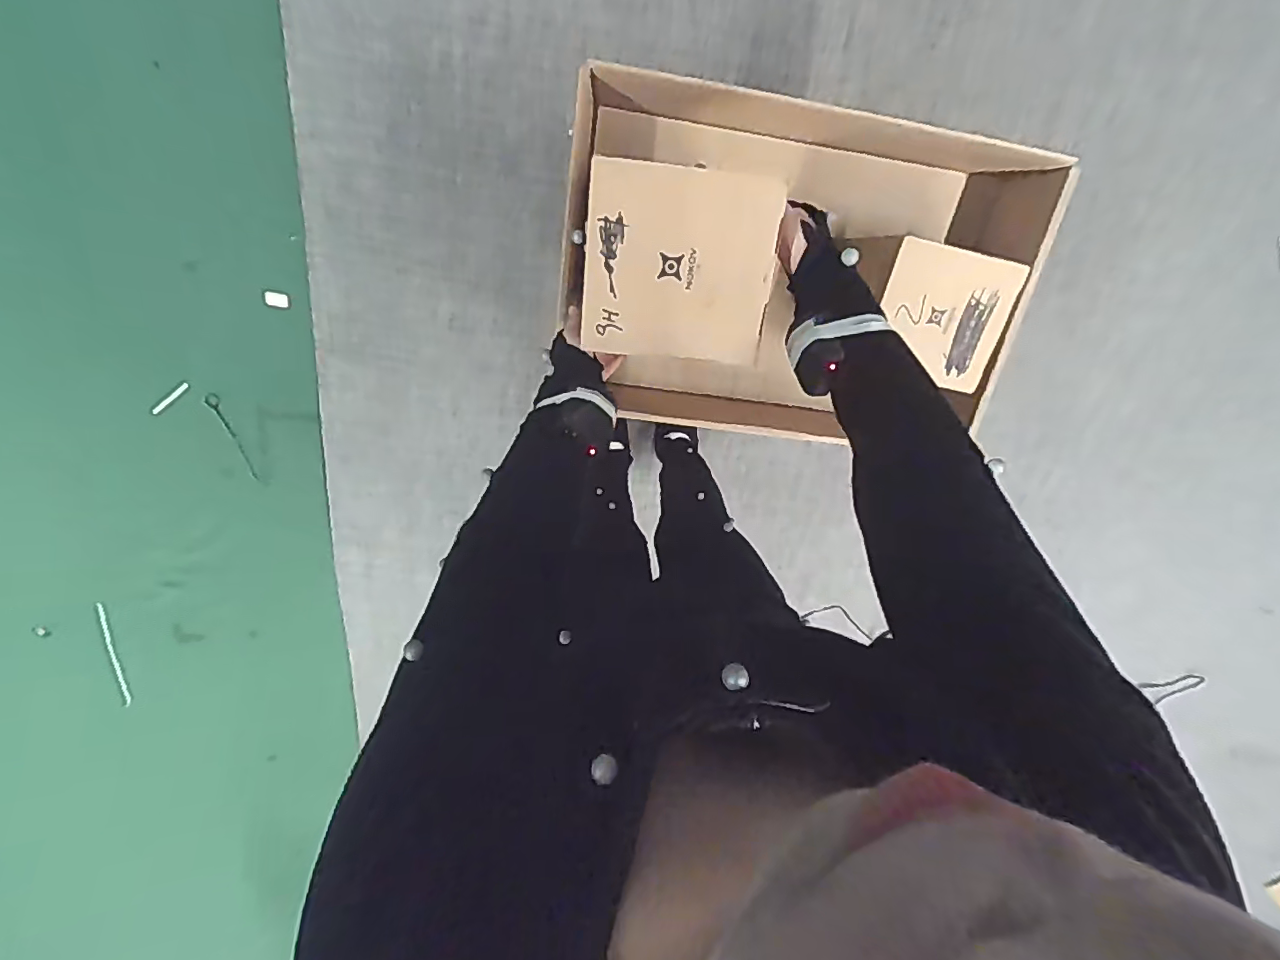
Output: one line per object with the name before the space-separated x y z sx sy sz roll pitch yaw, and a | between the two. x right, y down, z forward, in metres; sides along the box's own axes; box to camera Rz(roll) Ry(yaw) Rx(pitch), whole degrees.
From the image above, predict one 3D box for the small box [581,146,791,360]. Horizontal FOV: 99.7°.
small box | 0.034 -0.230 0.566 0.179 0.176 0.168 5 112 -5
